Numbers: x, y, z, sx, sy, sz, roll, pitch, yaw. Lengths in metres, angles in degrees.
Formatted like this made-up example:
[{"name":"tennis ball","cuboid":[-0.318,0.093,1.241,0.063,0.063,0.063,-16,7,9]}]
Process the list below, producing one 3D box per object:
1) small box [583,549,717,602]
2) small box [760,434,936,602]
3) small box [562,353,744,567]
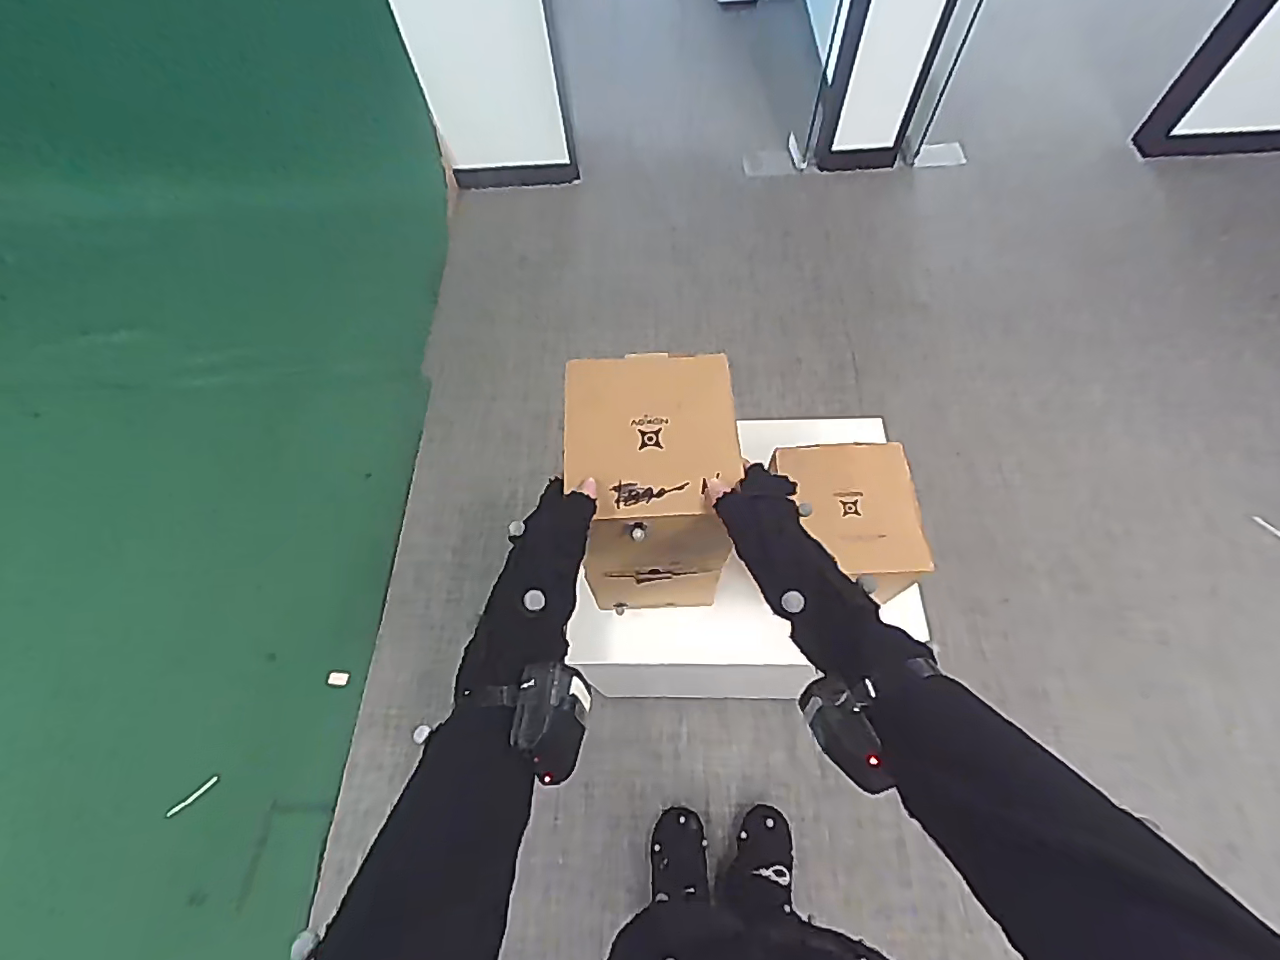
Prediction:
[{"name":"small box","cuboid":[0.015,0.068,0.753,0.168,0.176,0.179,-3,63,2]},{"name":"small box","cuboid":[0.261,0.056,0.727,0.168,0.176,0.179,-4,65,3]},{"name":"small box","cuboid":[0.010,-0.015,0.587,0.168,0.176,0.179,-3,66,1]}]
